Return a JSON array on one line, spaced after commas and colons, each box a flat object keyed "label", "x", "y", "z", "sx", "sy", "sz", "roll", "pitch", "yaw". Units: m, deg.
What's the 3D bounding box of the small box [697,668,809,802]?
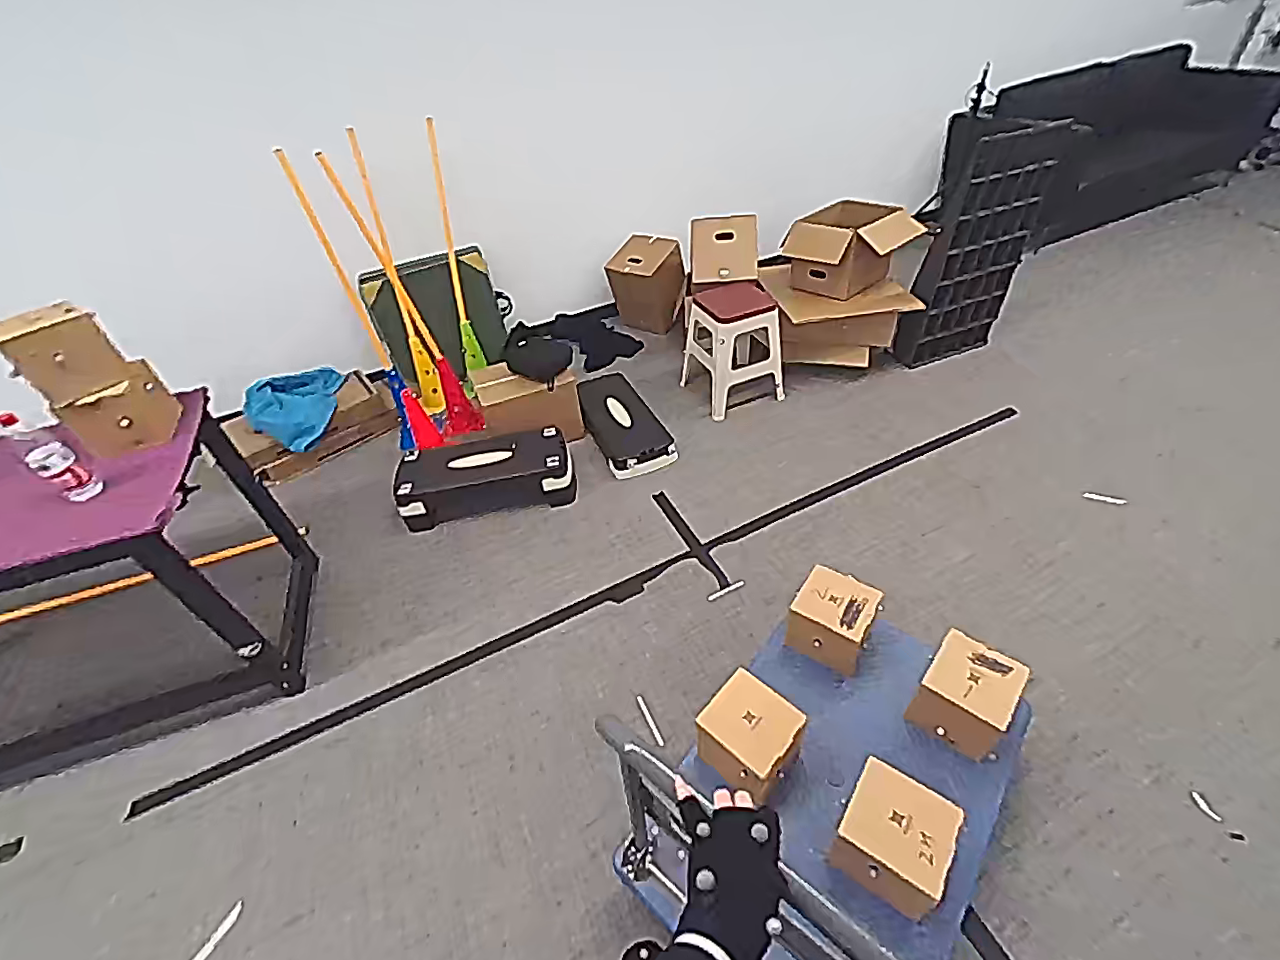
[{"label": "small box", "x": 0.241, "y": 0.560, "z": 1.185, "sx": 0.179, "sy": 0.176, "sz": 0.168, "roll": 31, "pitch": 54, "yaw": 33}]

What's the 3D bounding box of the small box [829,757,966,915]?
[{"label": "small box", "x": 0.478, "y": 0.676, "z": 1.025, "sx": 0.179, "sy": 0.176, "sz": 0.168, "roll": 24, "pitch": 51, "yaw": 30}]

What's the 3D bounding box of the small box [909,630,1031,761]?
[{"label": "small box", "x": 0.728, "y": 0.480, "z": 1.208, "sx": 0.168, "sy": 0.176, "sz": 0.179, "roll": 29, "pitch": 54, "yaw": 33}]
